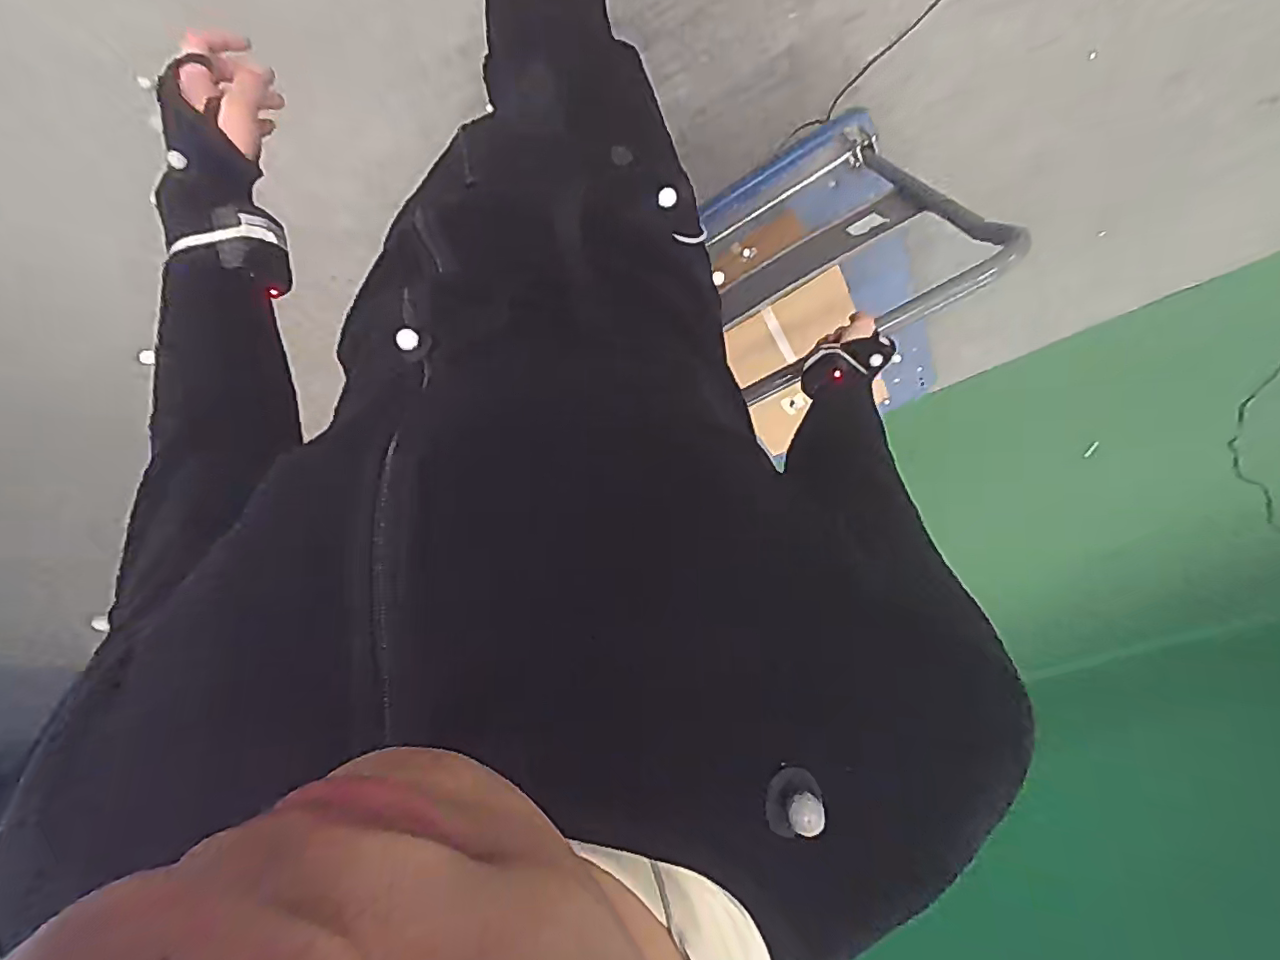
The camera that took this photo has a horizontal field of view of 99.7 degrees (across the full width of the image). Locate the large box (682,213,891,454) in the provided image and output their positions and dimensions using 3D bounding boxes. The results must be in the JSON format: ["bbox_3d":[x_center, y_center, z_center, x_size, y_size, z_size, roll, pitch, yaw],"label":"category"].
[{"bbox_3d":[0.349,-0.346,1.320,0.320,0.320,0.408,-28,133,19],"label":"large box"}]
